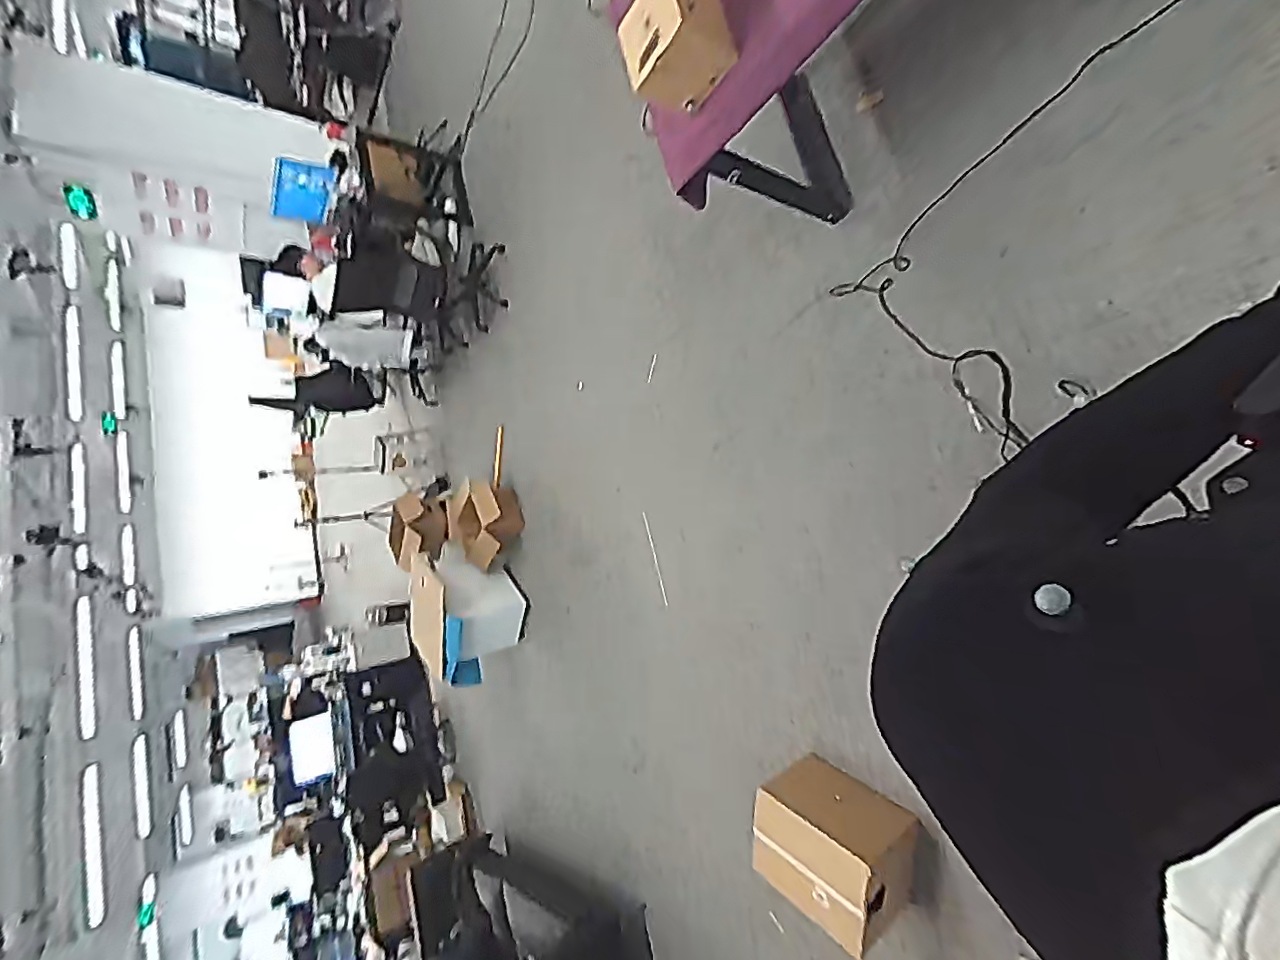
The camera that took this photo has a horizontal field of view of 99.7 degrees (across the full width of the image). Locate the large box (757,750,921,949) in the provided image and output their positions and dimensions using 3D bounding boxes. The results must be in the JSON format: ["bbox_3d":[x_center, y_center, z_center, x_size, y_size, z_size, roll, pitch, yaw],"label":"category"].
[{"bbox_3d":[0.644,1.176,1.784,0.408,0.320,0.320,11,103,49],"label":"large box"}]

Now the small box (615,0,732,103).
[{"bbox_3d":[0.075,-0.959,1.166,0.168,0.176,0.179,-26,74,49],"label":"small box"}]
